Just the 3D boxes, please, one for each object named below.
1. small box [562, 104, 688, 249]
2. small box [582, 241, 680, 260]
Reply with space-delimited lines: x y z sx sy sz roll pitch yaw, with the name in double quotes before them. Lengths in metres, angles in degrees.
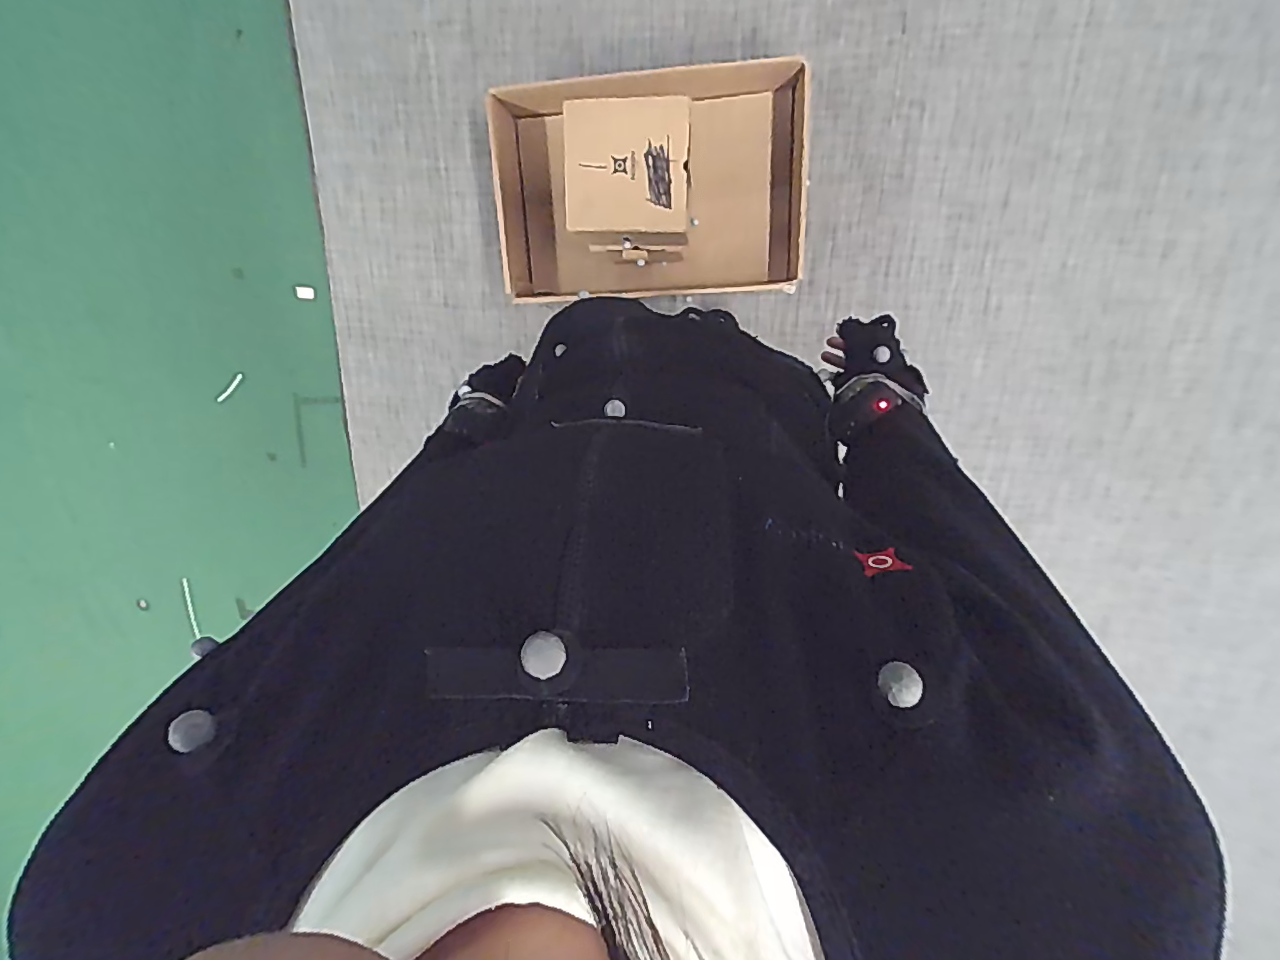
"small box" -0.017 -0.459 0.839 0.179 0.176 0.168 4 106 6
"small box" -0.009 -0.498 0.982 0.168 0.176 0.179 3 108 5
